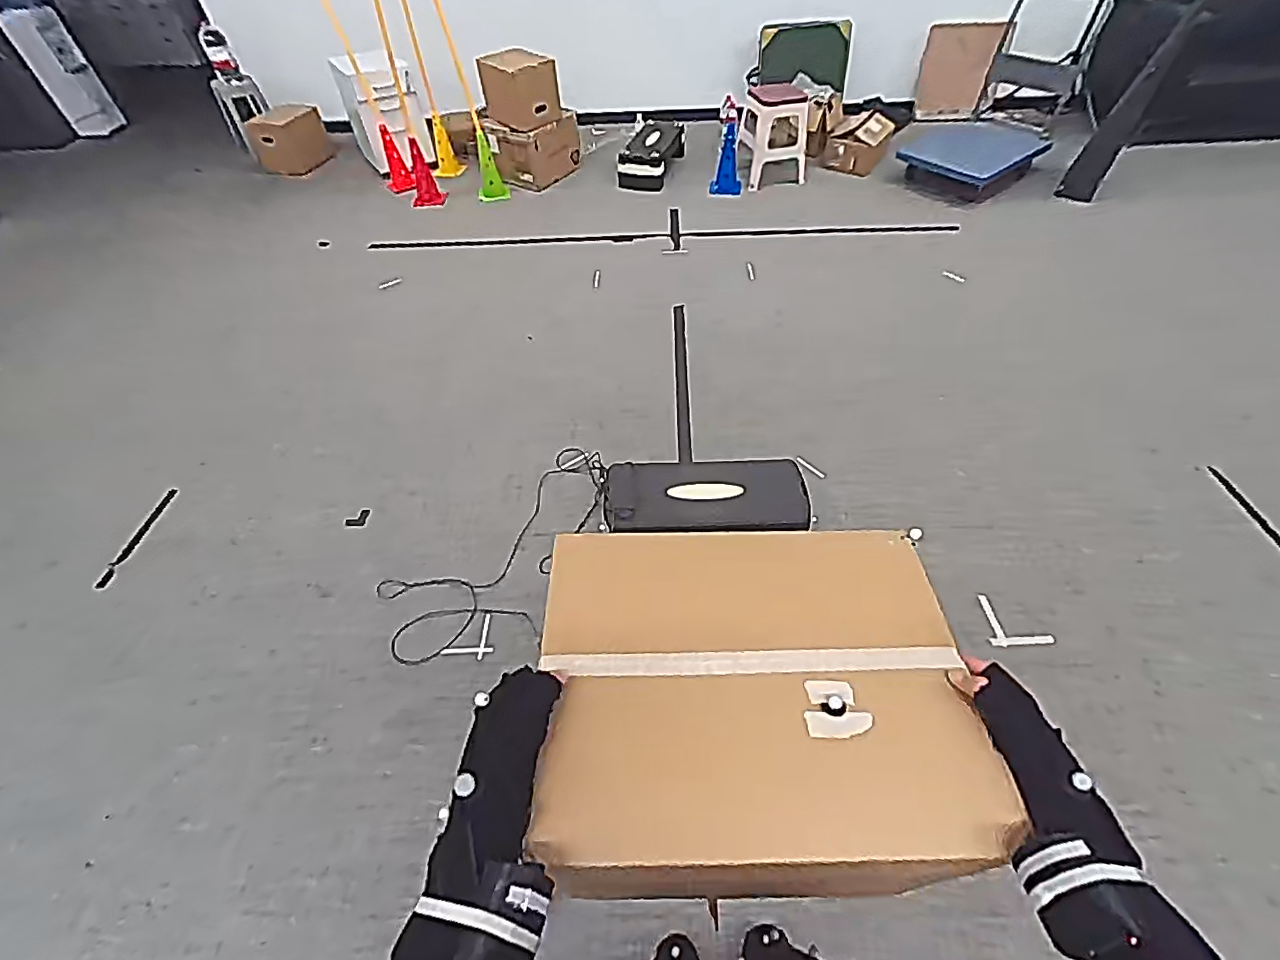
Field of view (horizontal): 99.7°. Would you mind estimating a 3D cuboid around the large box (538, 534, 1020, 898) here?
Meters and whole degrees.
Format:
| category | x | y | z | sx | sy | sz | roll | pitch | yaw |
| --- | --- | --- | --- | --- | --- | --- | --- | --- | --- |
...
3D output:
| category | x | y | z | sx | sy | sz | roll | pitch | yaw |
| --- | --- | --- | --- | --- | --- | --- | --- | --- | --- |
| large box | 0.109 | 0.282 | 0.644 | 0.408 | 0.320 | 0.320 | -1 | 48 | -1 |
